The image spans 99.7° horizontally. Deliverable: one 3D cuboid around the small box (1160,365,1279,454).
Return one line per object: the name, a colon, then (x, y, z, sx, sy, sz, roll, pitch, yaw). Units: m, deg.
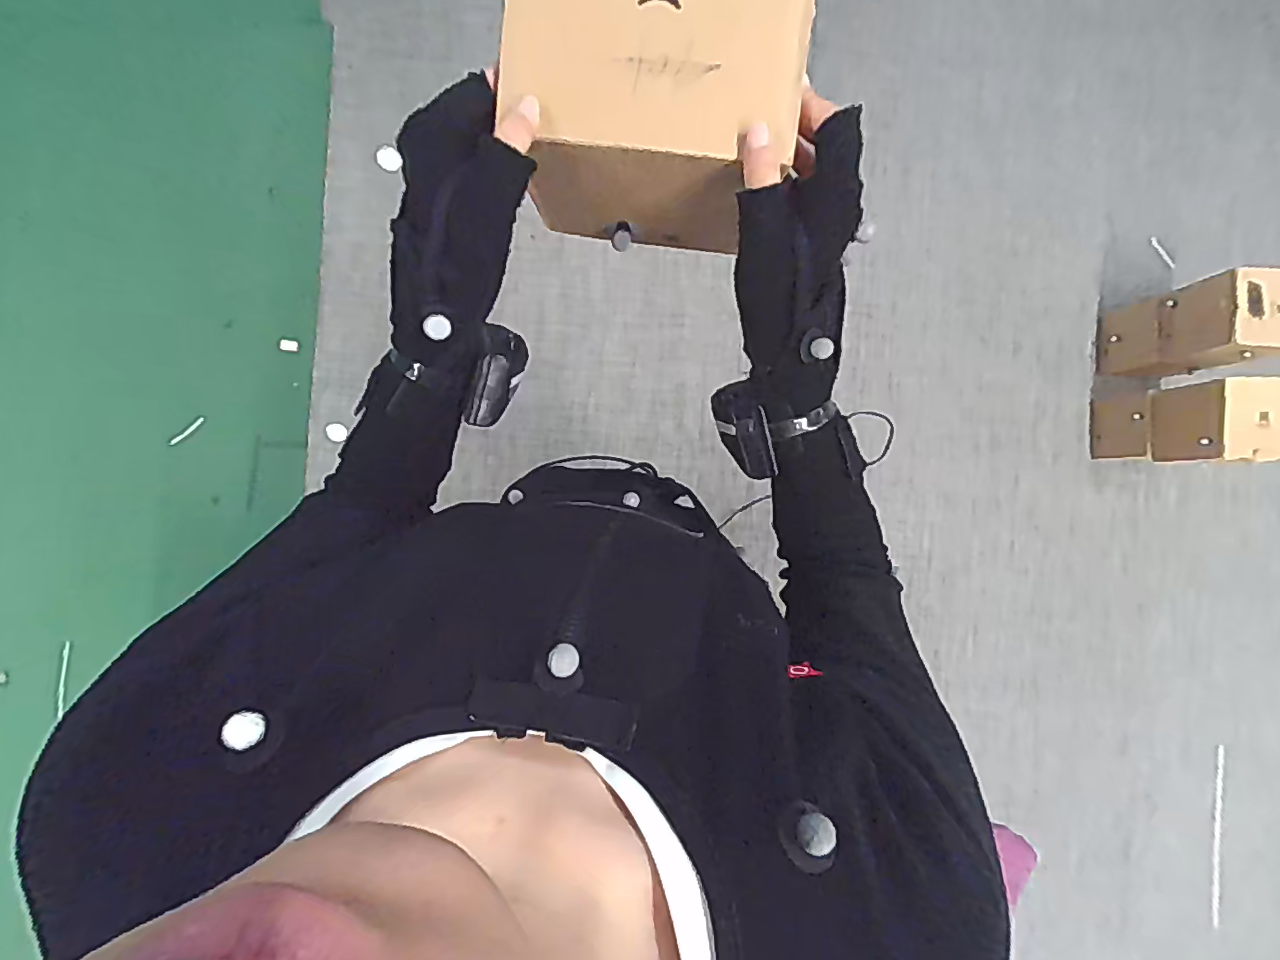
small box: (1.306, -0.151, 1.193, 0.168, 0.176, 0.179, 1, 91, 2)

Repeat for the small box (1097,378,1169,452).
small box: (1.307, -0.158, 1.356, 0.179, 0.176, 0.168, 2, 90, 1)

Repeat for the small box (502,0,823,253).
small box: (0.016, -0.274, 0.365, 0.168, 0.176, 0.179, 7, 99, -1)
